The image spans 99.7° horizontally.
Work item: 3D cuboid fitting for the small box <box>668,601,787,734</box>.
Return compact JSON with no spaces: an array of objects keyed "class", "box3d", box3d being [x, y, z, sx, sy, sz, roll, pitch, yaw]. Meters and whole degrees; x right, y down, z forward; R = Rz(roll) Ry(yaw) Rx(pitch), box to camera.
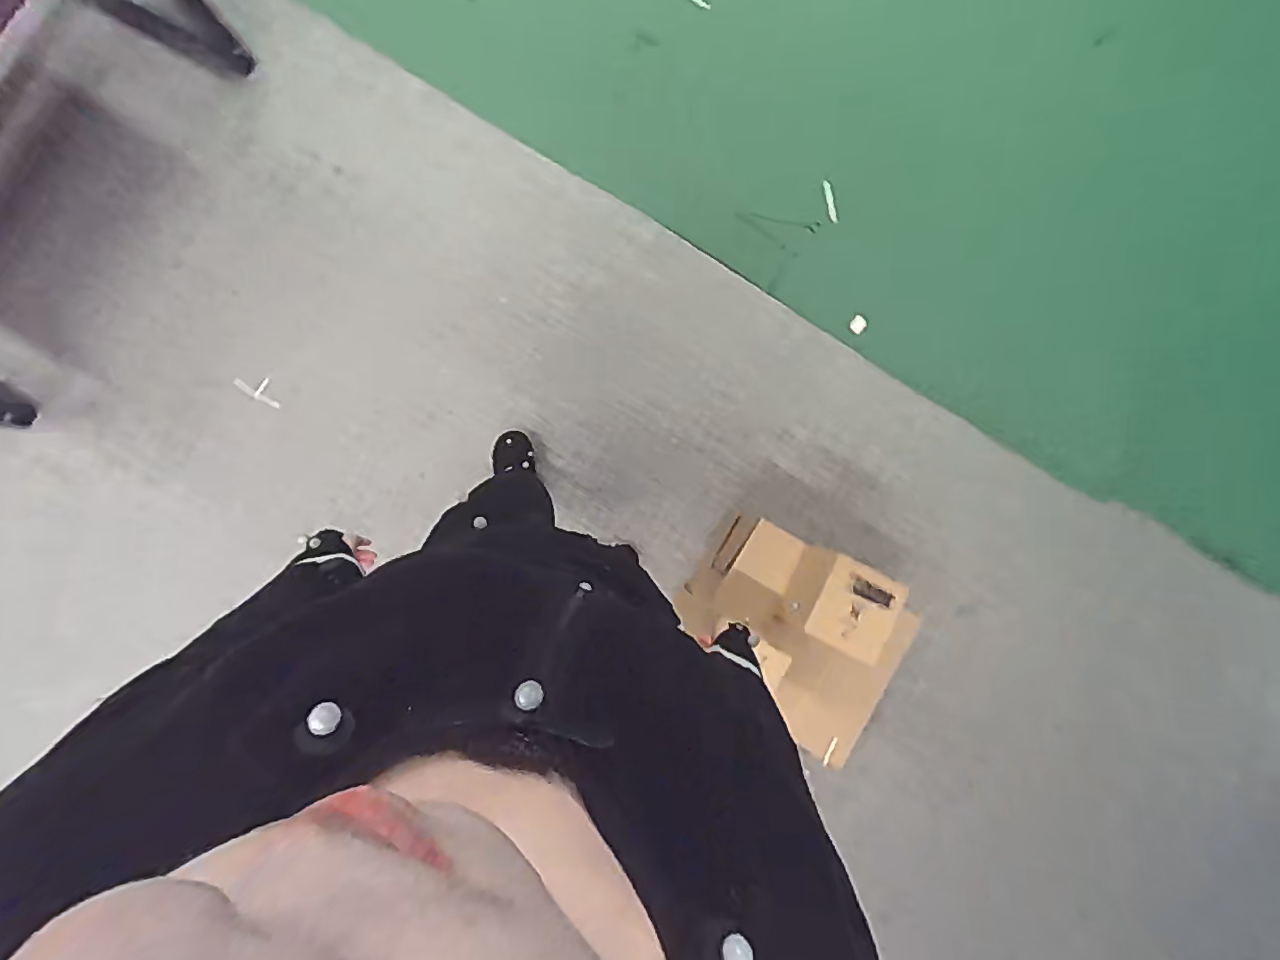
[{"class":"small box","box3d":[0.171,0.380,1.126,0.168,0.176,0.179,33,87,-3]}]
